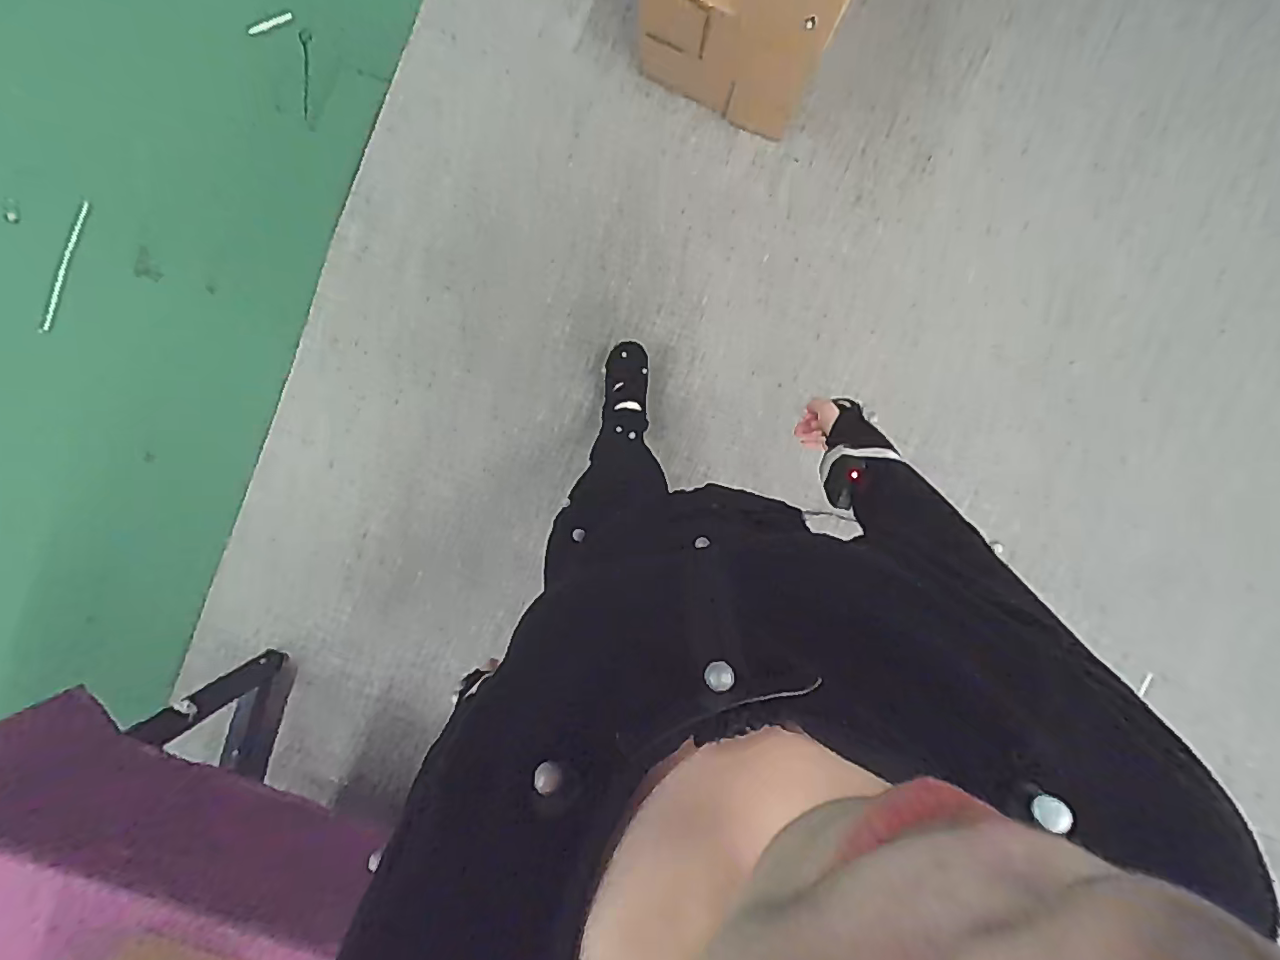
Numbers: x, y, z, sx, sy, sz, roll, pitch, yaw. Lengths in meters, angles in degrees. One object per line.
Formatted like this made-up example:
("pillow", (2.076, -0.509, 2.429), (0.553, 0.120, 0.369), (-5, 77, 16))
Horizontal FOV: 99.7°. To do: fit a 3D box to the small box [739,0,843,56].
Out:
("small box", (0.306, -0.949, 1.010), (0.179, 0.176, 0.168), (23, 92, -1))
